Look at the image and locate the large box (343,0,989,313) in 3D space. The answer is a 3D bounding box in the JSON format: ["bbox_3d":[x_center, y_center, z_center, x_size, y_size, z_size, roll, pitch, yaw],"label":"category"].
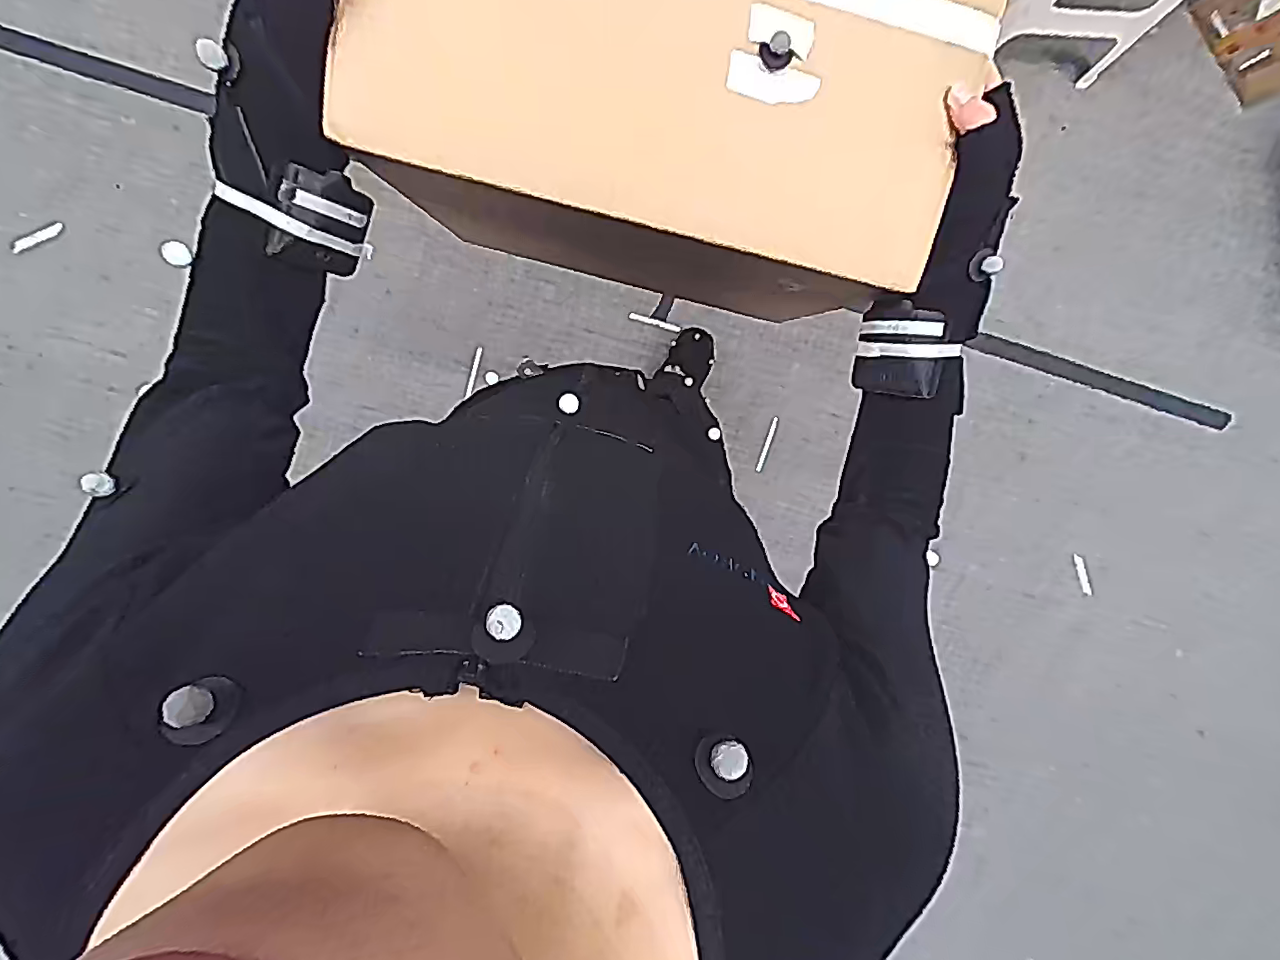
[{"bbox_3d":[0.020,-0.360,0.487,0.408,0.320,0.320,12,102,-6],"label":"large box"}]
